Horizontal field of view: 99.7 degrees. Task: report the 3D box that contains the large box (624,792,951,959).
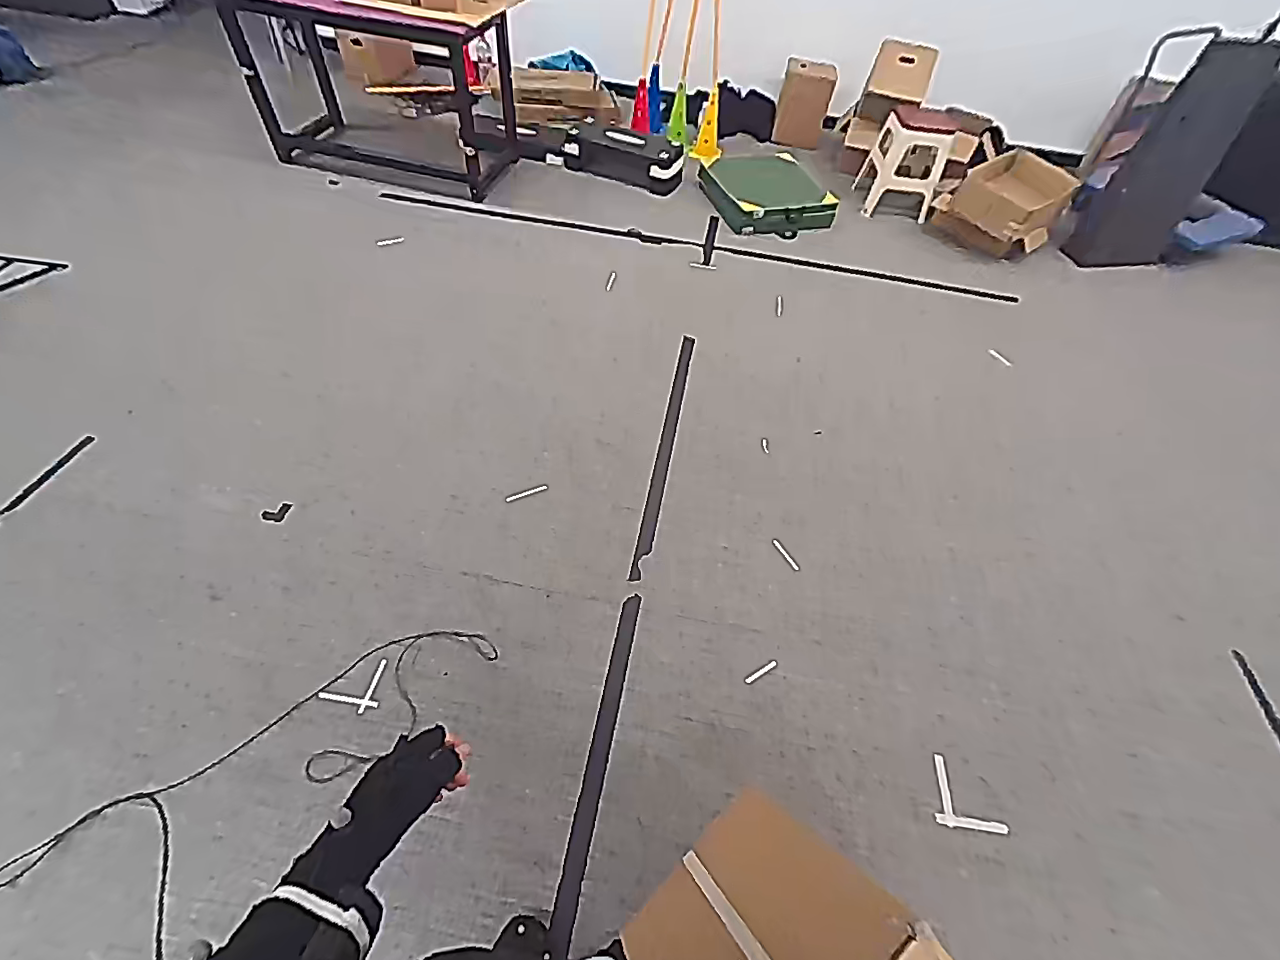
[{"bbox_3d":[0.230,0.713,0.713,0.320,0.408,0.320,-40,93,-18],"label":"large box"}]
